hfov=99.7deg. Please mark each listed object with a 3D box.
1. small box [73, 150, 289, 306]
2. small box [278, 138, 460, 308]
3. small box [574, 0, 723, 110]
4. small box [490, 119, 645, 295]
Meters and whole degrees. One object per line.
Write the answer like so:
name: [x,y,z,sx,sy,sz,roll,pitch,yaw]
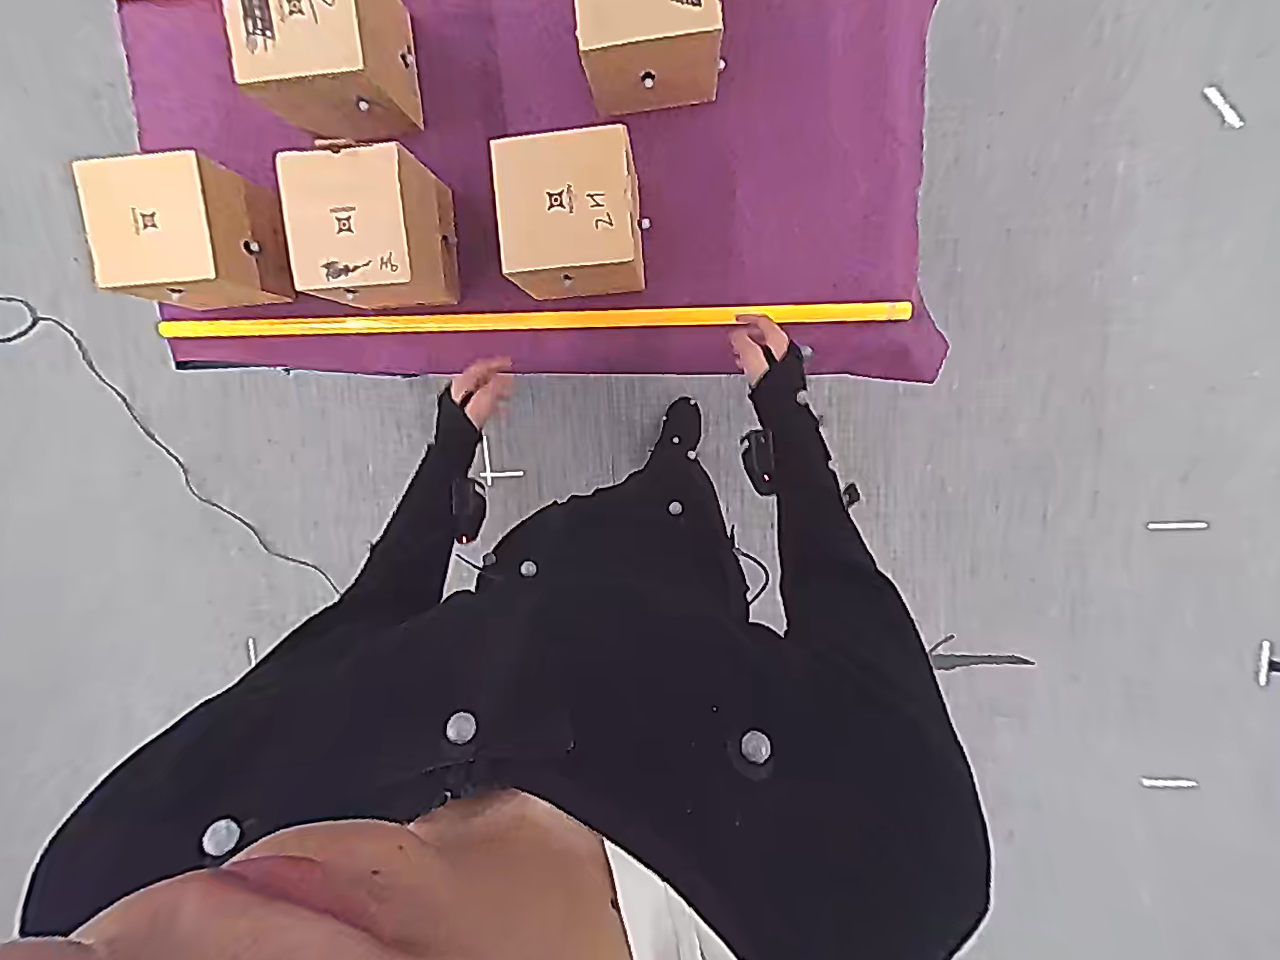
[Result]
small box: [-0.657,-0.361,0.803,0.179,0.176,0.168,-3,98,4]
small box: [-0.376,-0.356,0.779,0.168,0.176,0.179,-2,98,7]
small box: [0.012,-0.621,0.706,0.179,0.176,0.168,-4,99,7]
small box: [-0.090,-0.363,0.754,0.179,0.176,0.168,-3,97,5]
